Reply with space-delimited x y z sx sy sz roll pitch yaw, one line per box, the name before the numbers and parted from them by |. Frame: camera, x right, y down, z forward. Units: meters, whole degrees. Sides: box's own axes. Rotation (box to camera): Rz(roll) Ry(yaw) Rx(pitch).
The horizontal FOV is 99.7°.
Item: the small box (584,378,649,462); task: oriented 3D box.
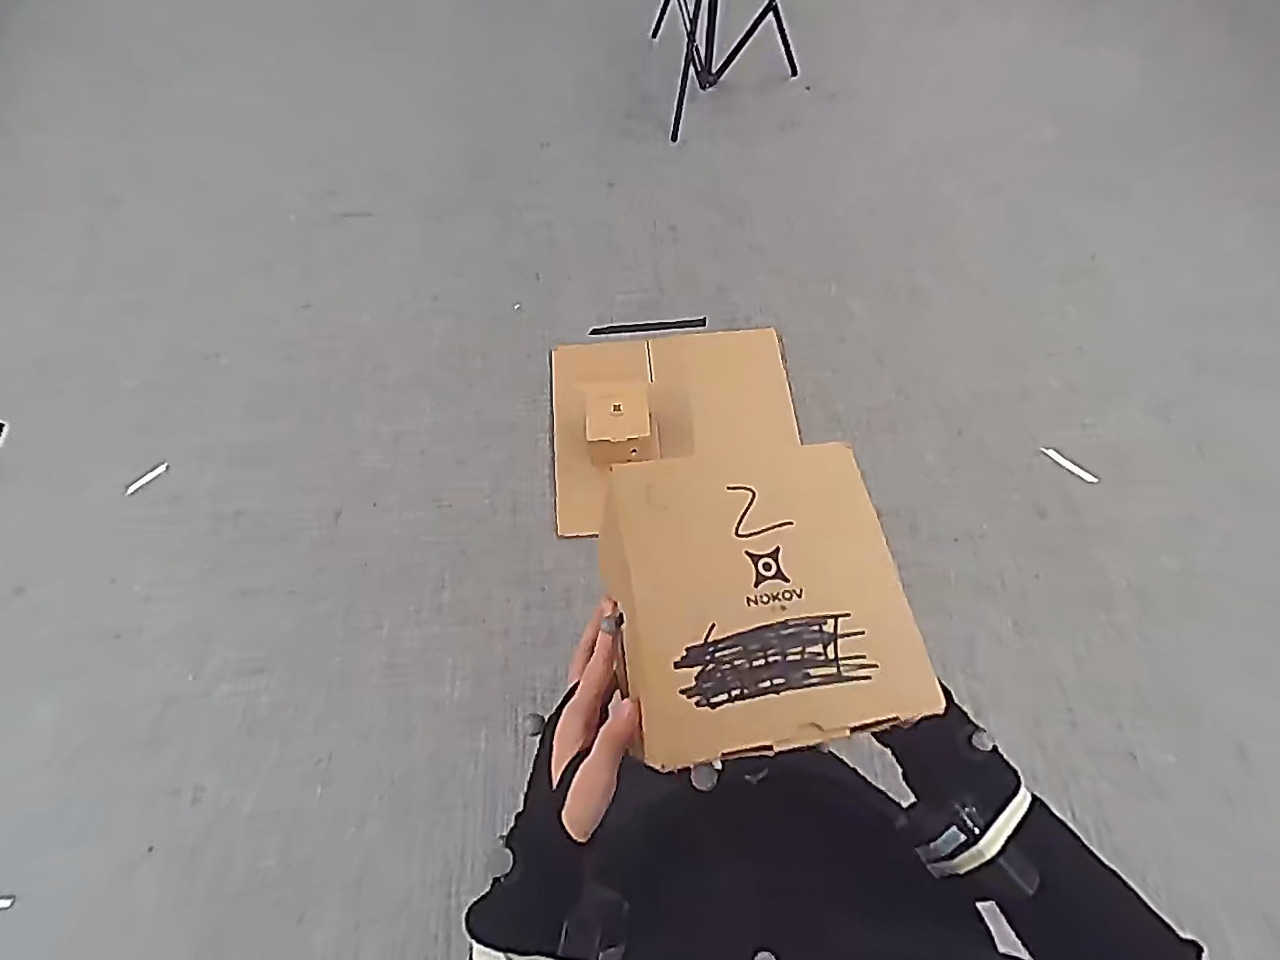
small box | -0.062 -0.156 1.475 0.168 0.176 0.179 -4 69 -1
